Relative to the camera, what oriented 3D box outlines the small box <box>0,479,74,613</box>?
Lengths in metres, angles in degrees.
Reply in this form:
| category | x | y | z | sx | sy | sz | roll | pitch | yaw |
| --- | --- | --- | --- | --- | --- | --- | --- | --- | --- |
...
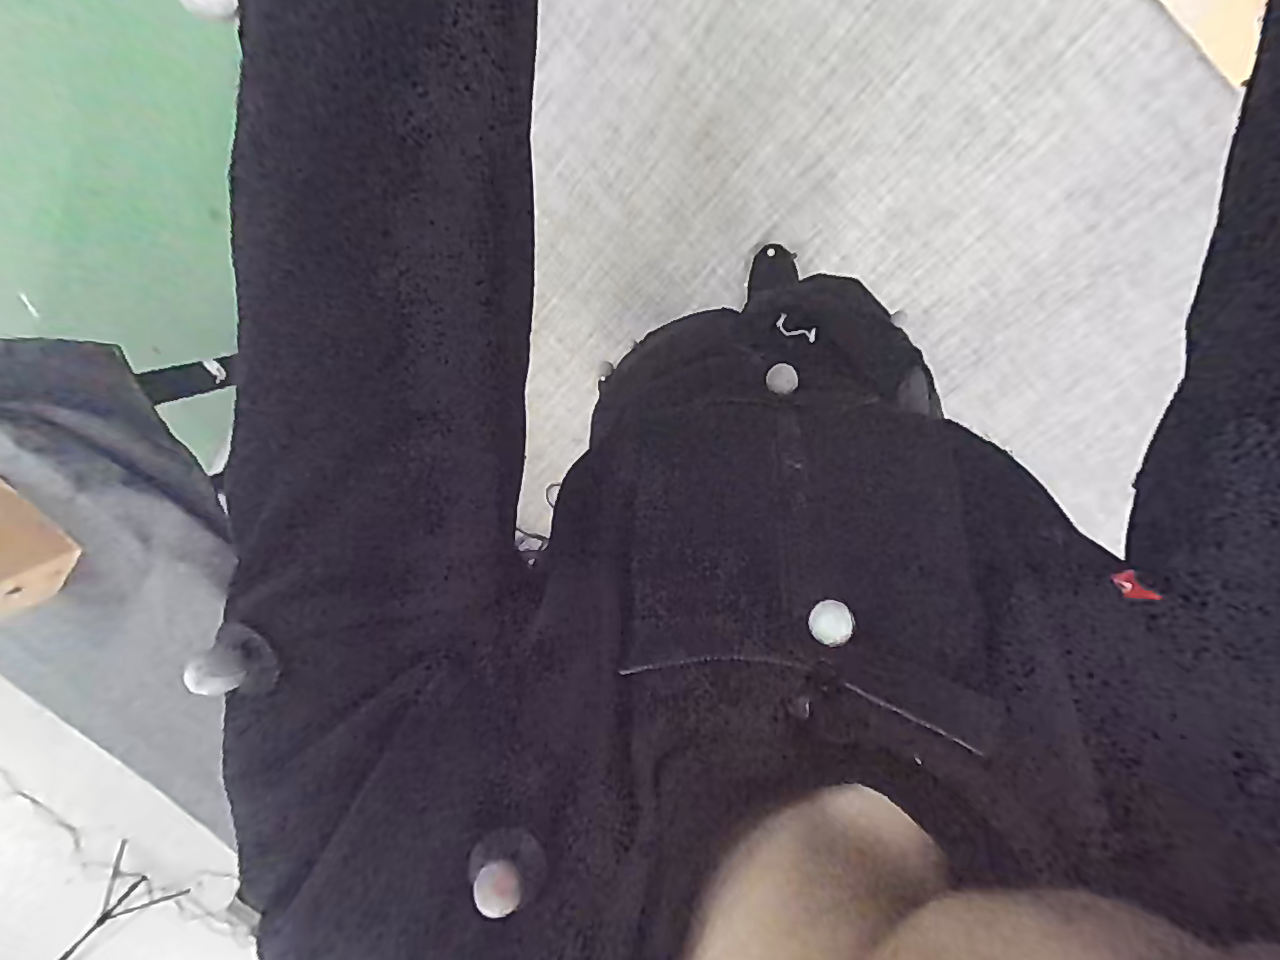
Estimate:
| category | x | y | z | sx | sy | sz | roll | pitch | yaw |
| --- | --- | --- | --- | --- | --- | --- | --- | --- | --- |
| small box | -1.053 | 0.120 | 0.834 | 0.168 | 0.176 | 0.179 | -38 | 99 | 22 |
